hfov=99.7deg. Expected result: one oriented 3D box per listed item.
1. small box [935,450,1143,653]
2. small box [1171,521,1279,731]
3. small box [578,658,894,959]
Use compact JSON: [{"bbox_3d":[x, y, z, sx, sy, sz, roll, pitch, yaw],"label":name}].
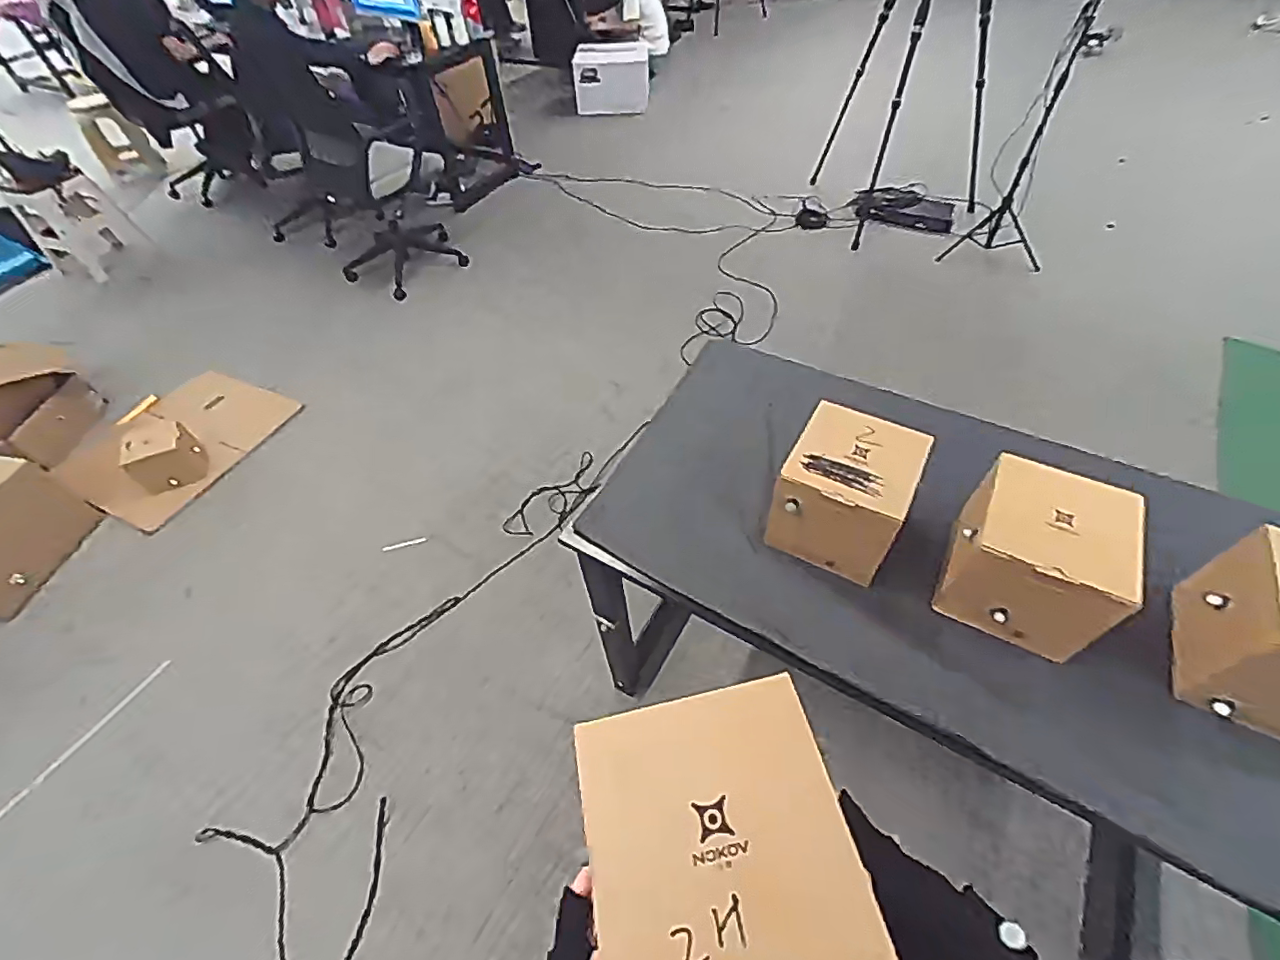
[{"bbox_3d":[0.526,0.097,0.729,0.168,0.176,0.179,23,57,21],"label":"small box"},{"bbox_3d":[0.776,0.186,0.634,0.168,0.176,0.179,22,55,21],"label":"small box"},{"bbox_3d":[0.056,0.264,0.411,0.168,0.176,0.179,-13,51,-2],"label":"small box"}]
